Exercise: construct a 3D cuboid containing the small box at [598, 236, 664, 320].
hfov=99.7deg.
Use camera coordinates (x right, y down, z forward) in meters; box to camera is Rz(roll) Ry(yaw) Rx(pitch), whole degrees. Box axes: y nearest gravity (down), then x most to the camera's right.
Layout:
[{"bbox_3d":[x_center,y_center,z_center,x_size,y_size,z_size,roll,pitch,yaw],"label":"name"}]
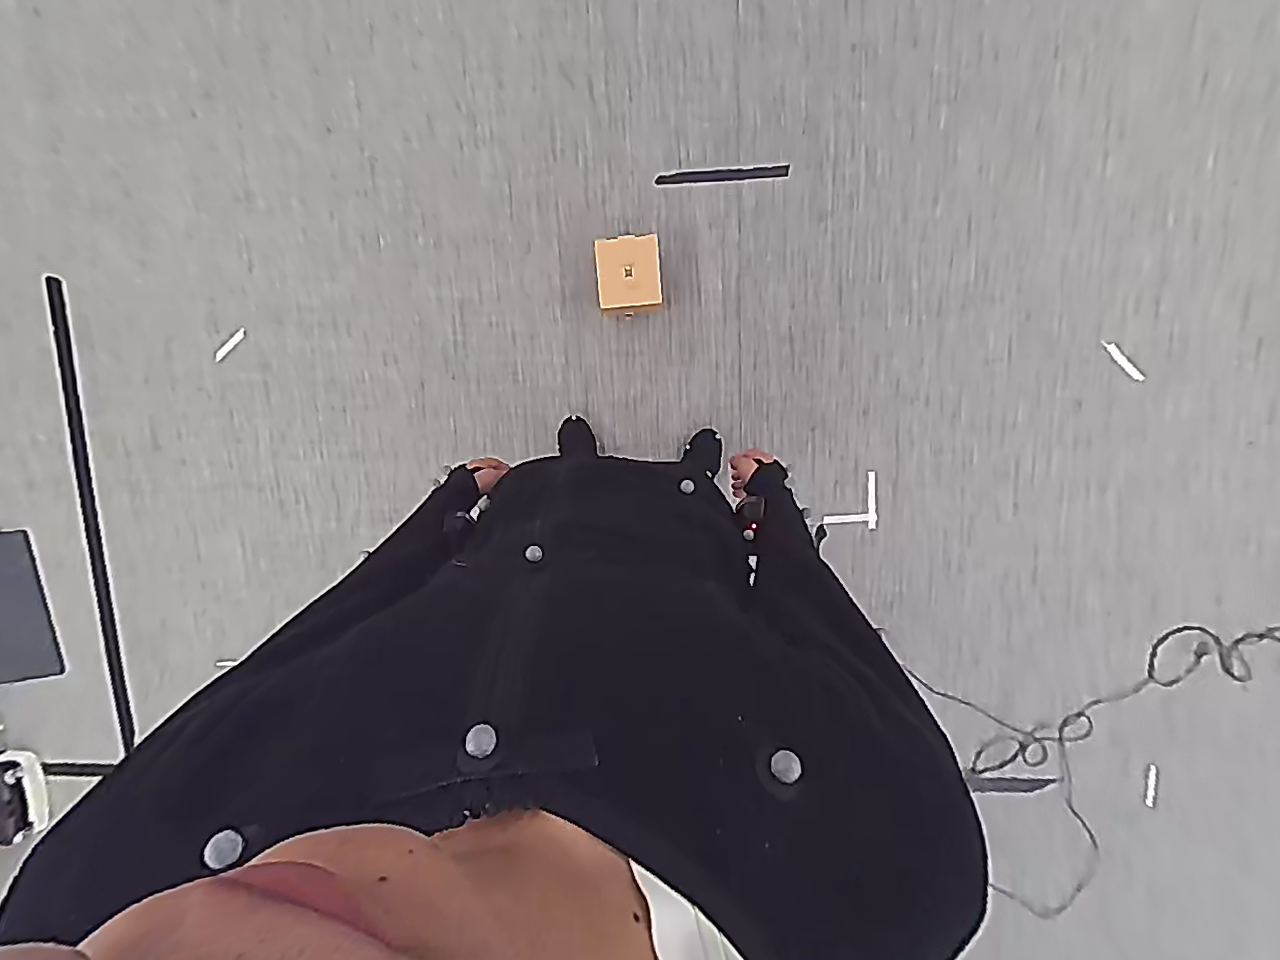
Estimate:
[{"bbox_3d":[-0.021,-0.546,1.477,0.168,0.176,0.179,-4,98,4],"label":"small box"}]
